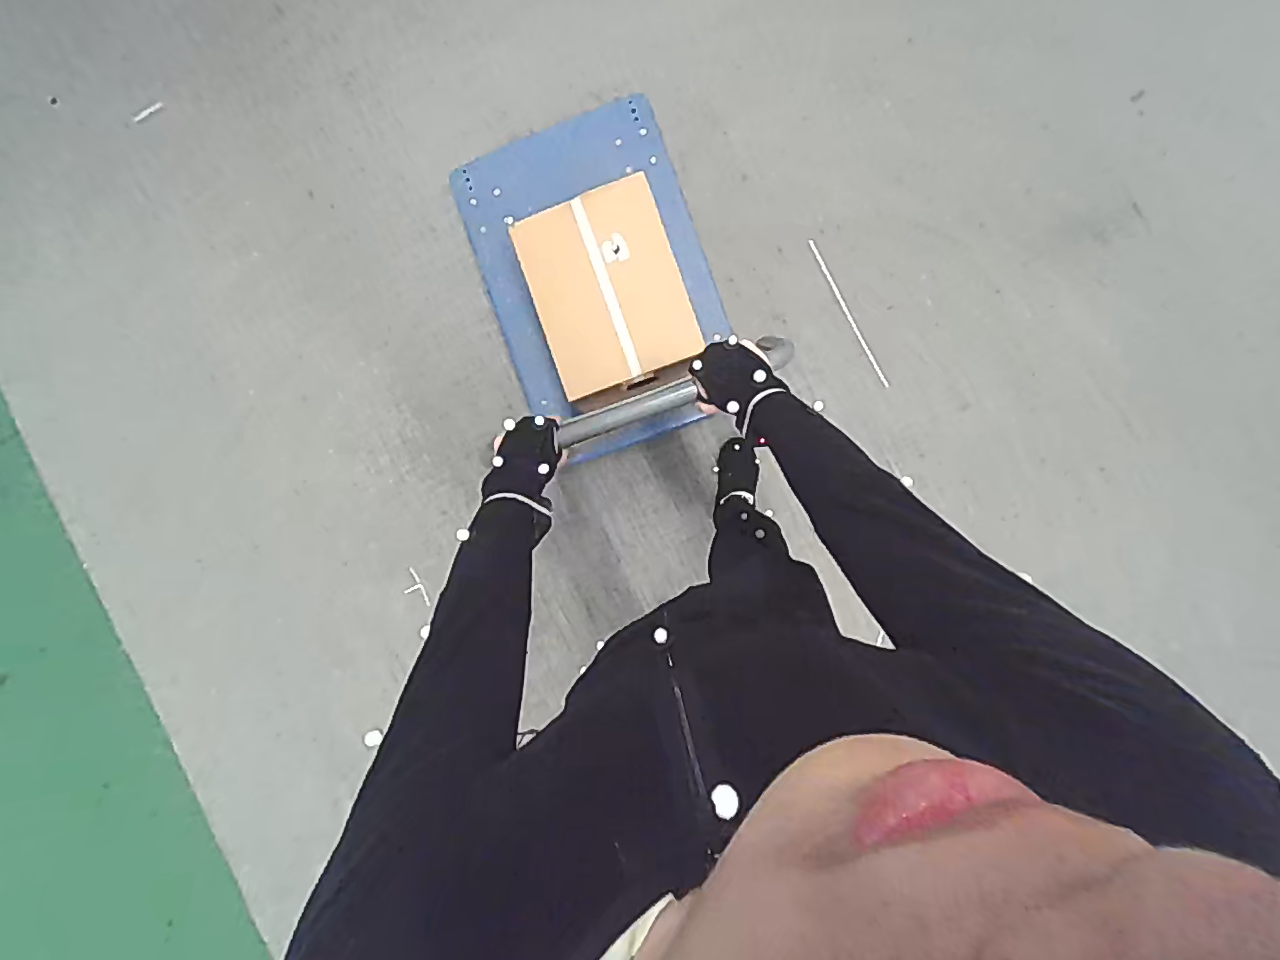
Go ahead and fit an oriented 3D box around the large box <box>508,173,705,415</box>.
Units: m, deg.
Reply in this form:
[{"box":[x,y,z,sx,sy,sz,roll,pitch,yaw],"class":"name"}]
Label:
[{"box":[-0.059,-0.408,1.286,0.320,0.320,0.408,-20,88,4],"class":"large box"}]
